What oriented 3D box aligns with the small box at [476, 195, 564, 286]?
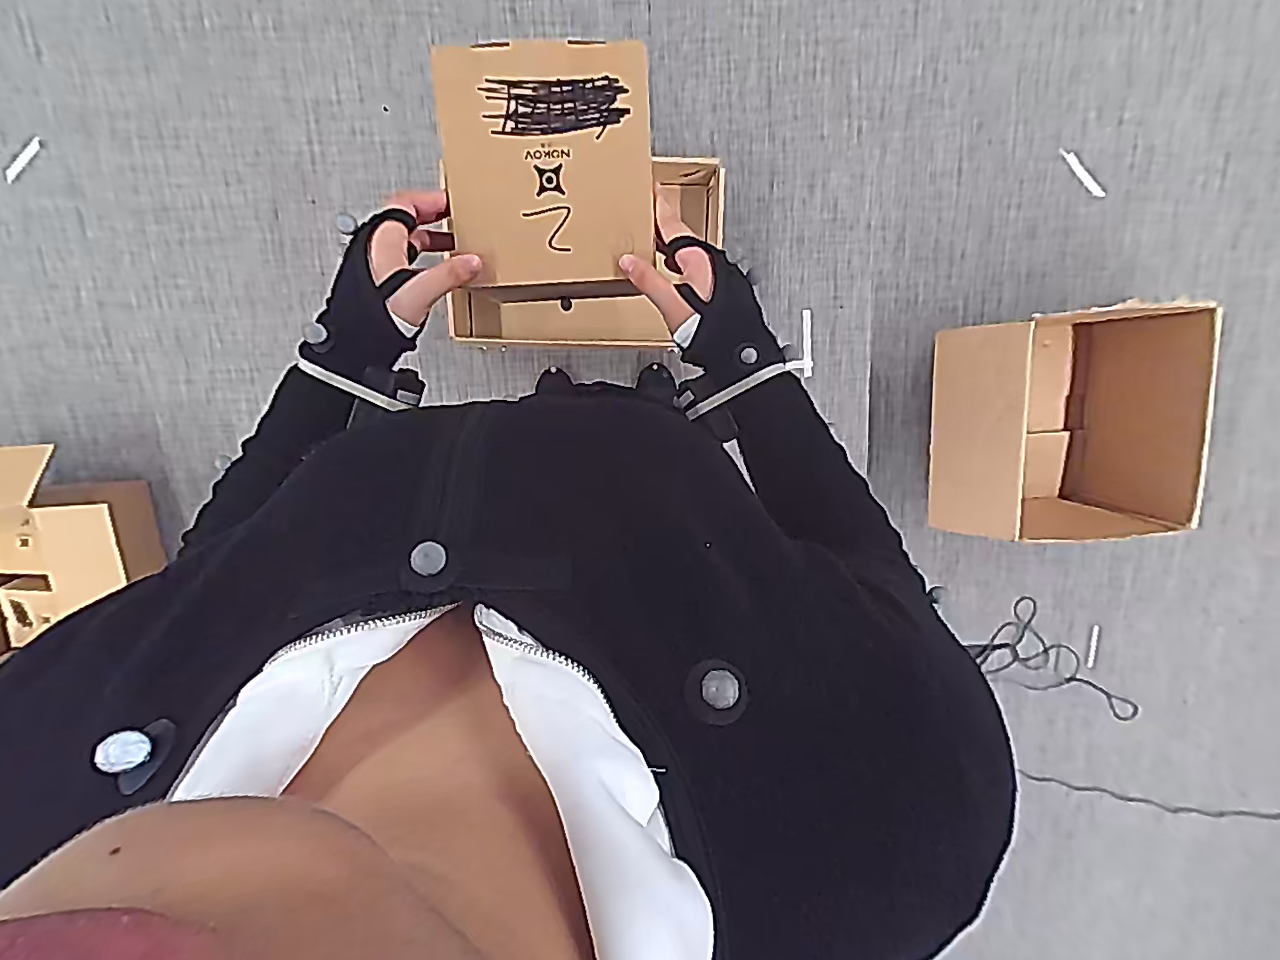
[{"bbox_3d":[-0.271,-0.548,1.257,0.179,0.176,0.168,1,104,-4],"label":"small box"}]
